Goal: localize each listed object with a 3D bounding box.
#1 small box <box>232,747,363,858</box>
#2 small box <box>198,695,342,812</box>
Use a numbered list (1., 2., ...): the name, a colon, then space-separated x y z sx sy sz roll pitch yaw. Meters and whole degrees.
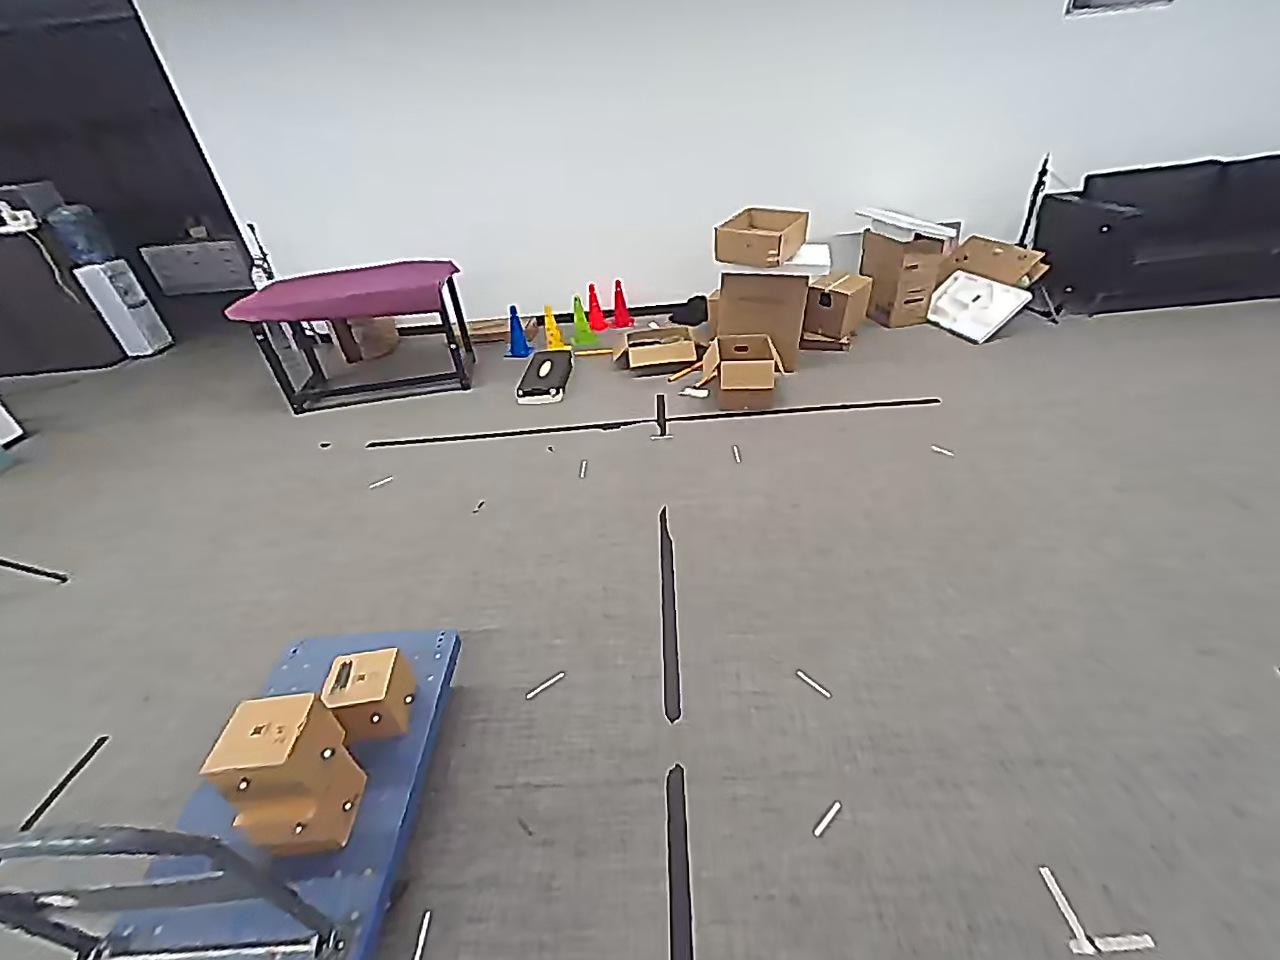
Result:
1. small box: -0.787 0.753 1.263 0.179 0.176 0.168 -6 34 -2
2. small box: -0.801 0.604 1.191 0.179 0.176 0.168 -6 35 -2
